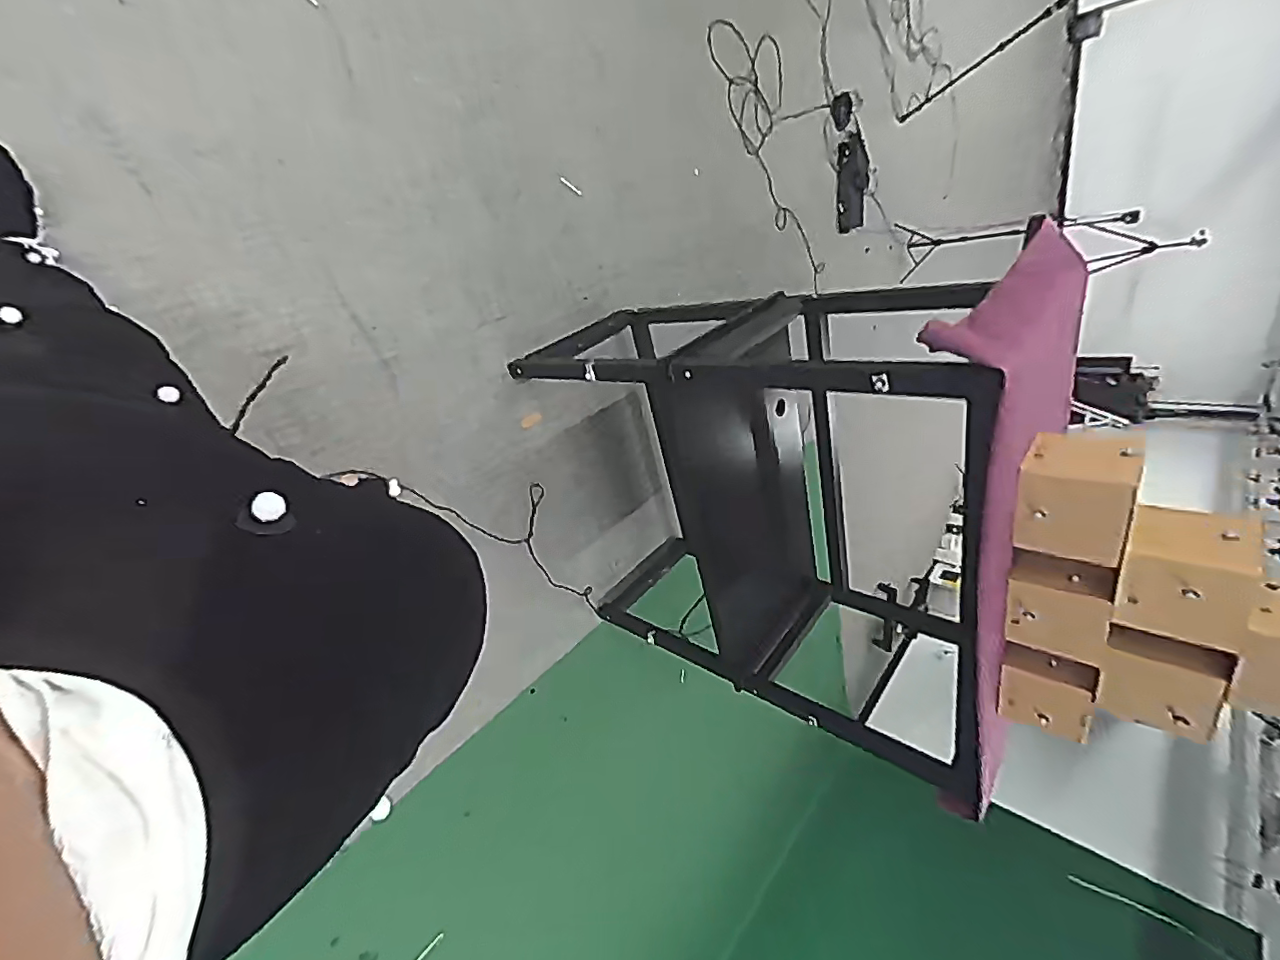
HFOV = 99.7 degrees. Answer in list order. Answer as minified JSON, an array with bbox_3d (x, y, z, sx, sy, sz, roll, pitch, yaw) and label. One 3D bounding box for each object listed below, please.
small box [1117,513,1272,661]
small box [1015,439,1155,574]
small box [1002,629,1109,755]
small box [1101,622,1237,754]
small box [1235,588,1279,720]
[{"bbox_3d":[0.966,0.177,0.952,0.179,0.176,0.168,-35,121,-37],"label":"small box"},{"bbox_3d":[0.820,0.040,1.007,0.168,0.176,0.179,-36,124,-36],"label":"small box"},{"bbox_3d":[0.945,0.473,1.233,0.179,0.176,0.168,-33,121,-38],"label":"small box"},{"bbox_3d":[1.026,0.381,1.056,0.168,0.176,0.179,-36,122,-37],"label":"small box"},{"bbox_3d":[1.112,0.297,0.889,0.168,0.176,0.179,-37,123,-36],"label":"small box"}]
